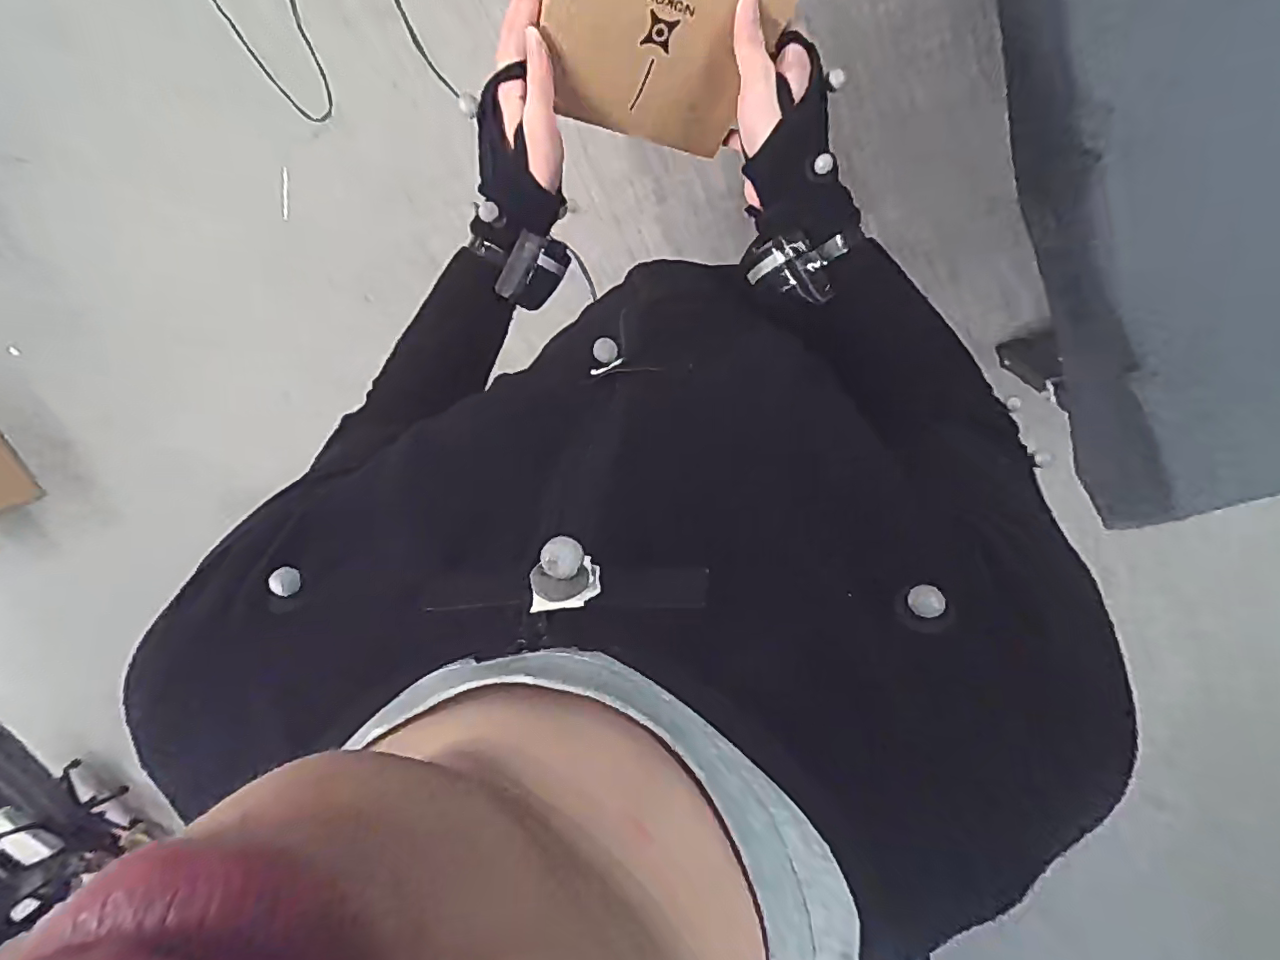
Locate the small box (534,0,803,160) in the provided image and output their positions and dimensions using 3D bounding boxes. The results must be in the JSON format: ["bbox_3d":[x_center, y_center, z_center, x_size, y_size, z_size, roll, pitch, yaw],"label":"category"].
[{"bbox_3d":[0.014,-0.396,0.409,0.168,0.176,0.179,3,158,-21],"label":"small box"}]

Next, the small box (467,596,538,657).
[{"bbox_3d":[-0.505,0.555,2.023,0.179,0.176,0.168,-17,109,22],"label":"small box"}]

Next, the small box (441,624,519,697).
[{"bbox_3d":[-0.544,0.624,1.881,0.179,0.176,0.168,-17,109,24],"label":"small box"}]
